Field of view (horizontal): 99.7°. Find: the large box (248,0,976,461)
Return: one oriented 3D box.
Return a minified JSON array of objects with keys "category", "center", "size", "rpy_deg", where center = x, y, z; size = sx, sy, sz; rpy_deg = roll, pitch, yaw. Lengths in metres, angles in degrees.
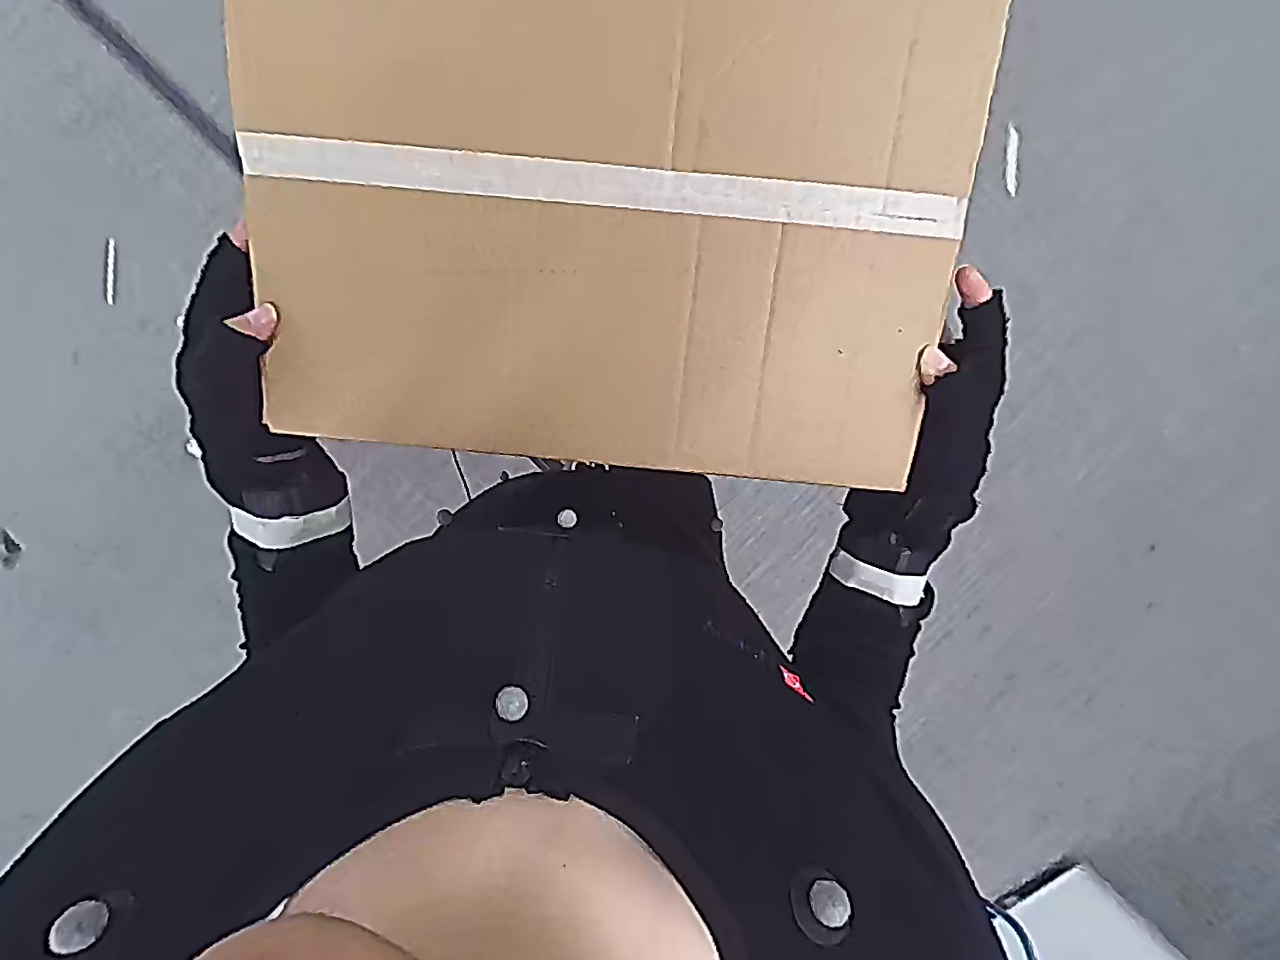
[{"category":"large box","center":[-0.022,-0.205,0.460],"size":[0.408,0.320,0.320],"rpy_deg":[4,105,0]}]
